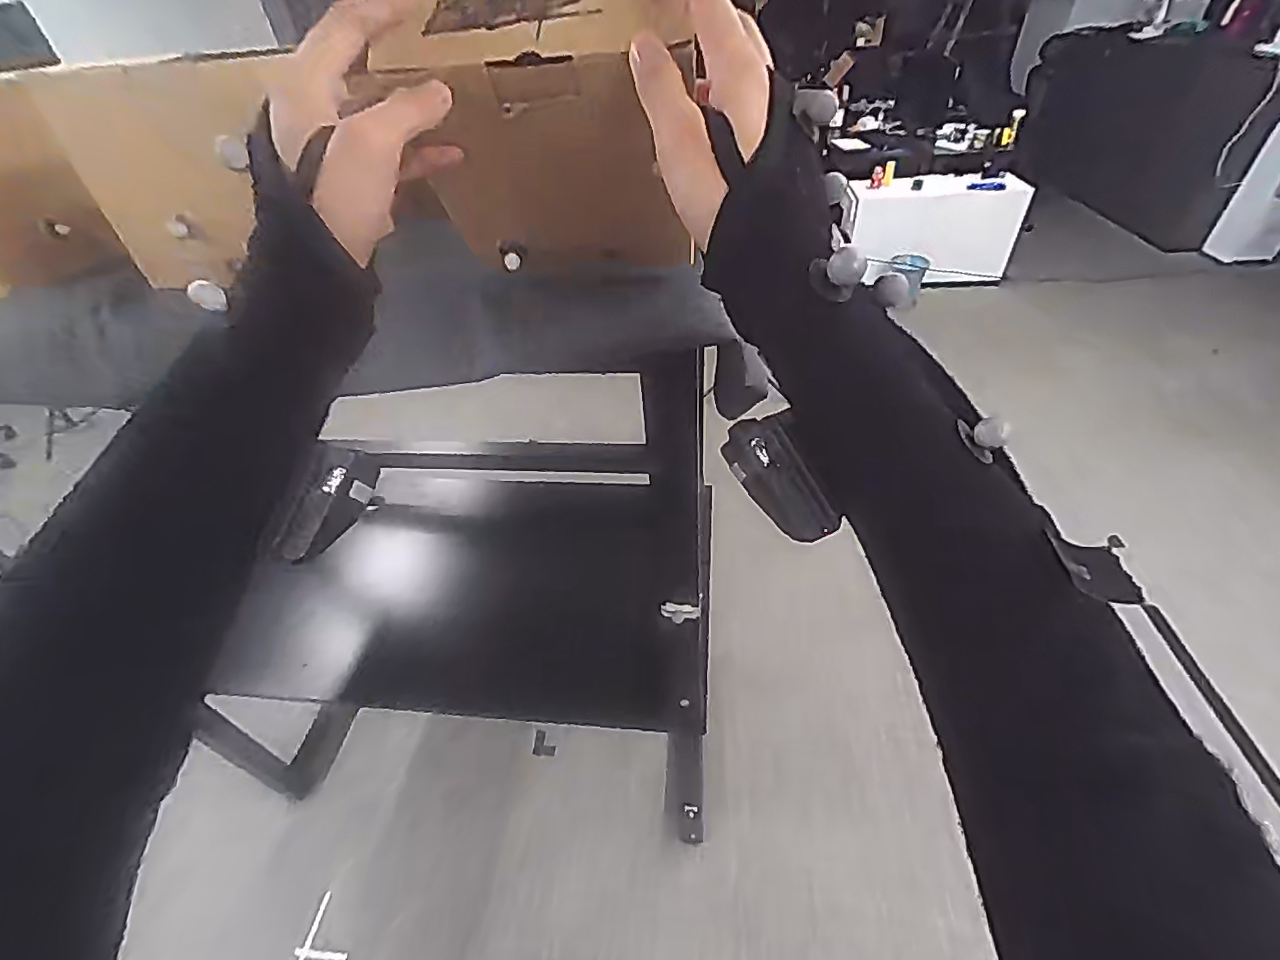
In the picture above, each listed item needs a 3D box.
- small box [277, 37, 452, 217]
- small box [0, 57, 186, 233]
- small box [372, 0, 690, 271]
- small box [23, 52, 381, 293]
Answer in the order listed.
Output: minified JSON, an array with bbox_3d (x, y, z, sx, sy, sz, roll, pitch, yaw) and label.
[{"bbox_3d":[-0.289,-0.437,0.668,0.168,0.176,0.179,1,43,5],"label":"small box"},{"bbox_3d":[-0.687,-0.444,0.722,0.179,0.176,0.168,1,43,8],"label":"small box"},{"bbox_3d":[-0.050,-0.261,0.367,0.168,0.176,0.179,-2,73,4],"label":"small box"},{"bbox_3d":[-0.379,-0.293,0.517,0.168,0.176,0.179,3,41,10],"label":"small box"}]
